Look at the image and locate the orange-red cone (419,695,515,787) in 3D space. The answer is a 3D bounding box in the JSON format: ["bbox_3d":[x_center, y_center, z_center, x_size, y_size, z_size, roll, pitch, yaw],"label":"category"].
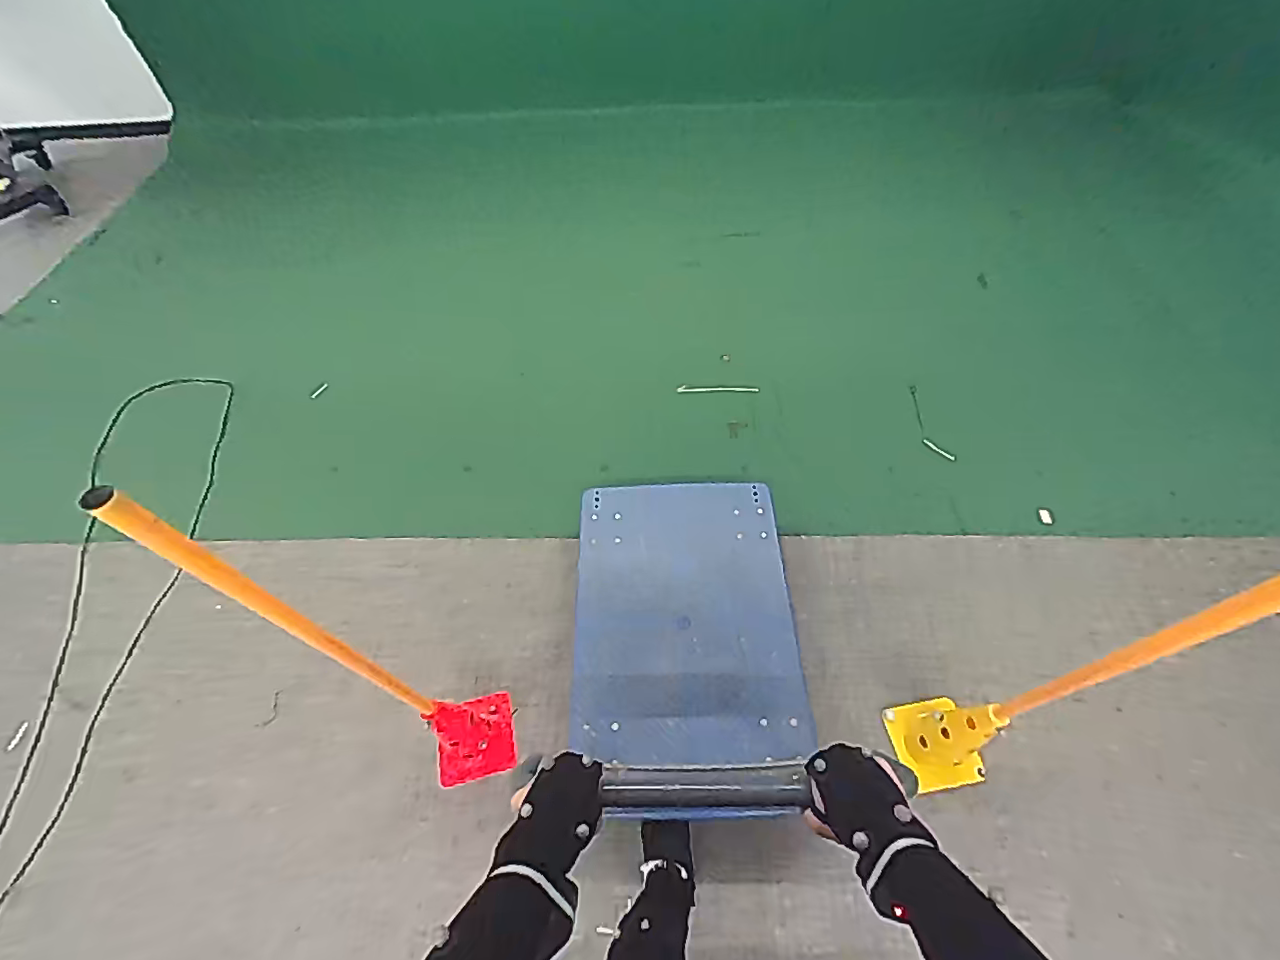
[{"bbox_3d":[-0.445,0.592,1.293,0.199,0.360,0.198,-14,55,-5],"label":"orange-red cone"}]
